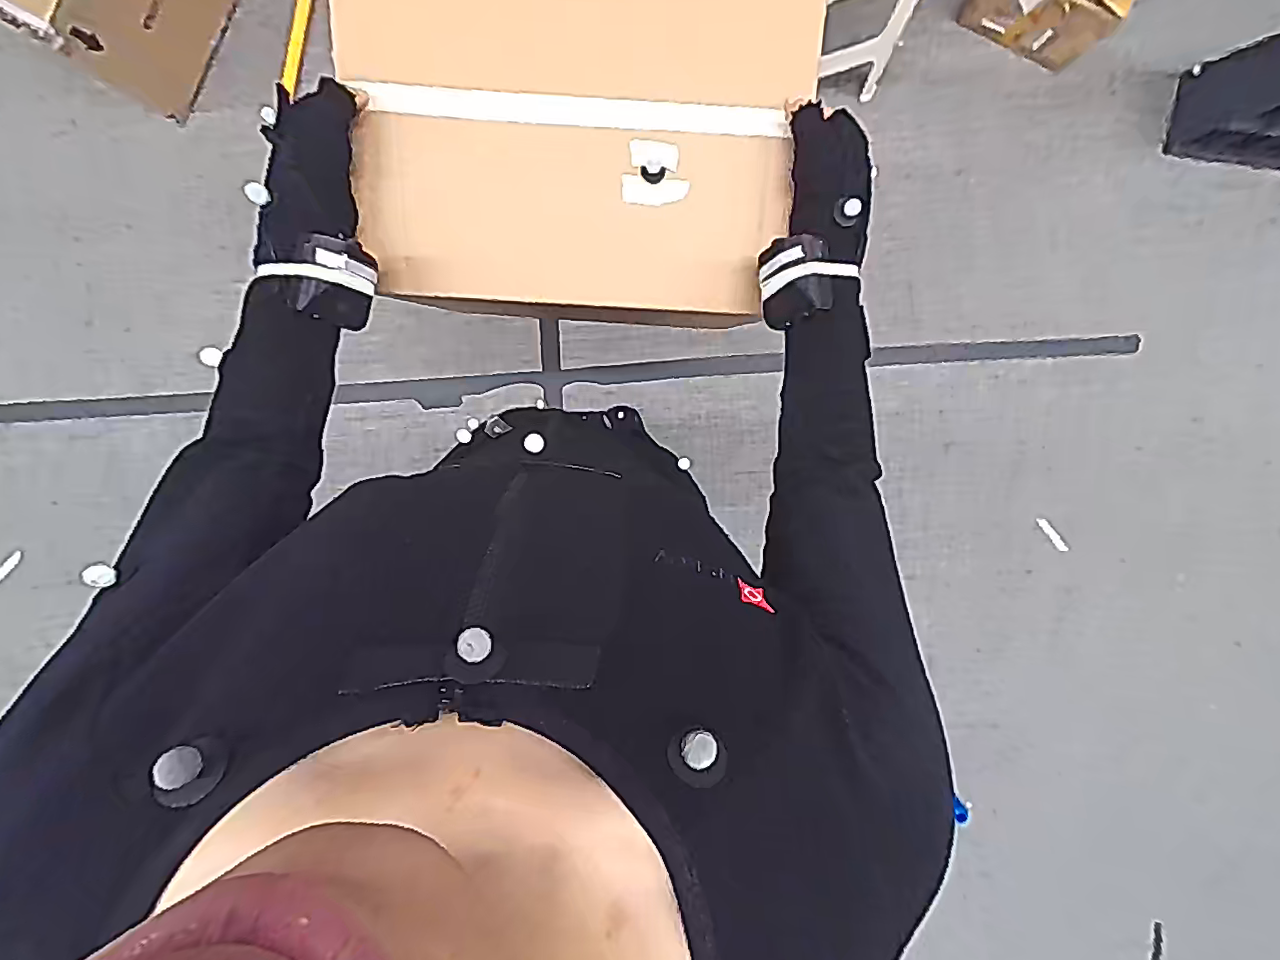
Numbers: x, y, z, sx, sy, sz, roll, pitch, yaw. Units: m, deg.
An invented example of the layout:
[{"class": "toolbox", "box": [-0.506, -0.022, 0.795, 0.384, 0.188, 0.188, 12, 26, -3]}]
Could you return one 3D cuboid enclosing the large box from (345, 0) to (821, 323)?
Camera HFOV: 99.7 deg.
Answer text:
[{"class": "large box", "box": [-0.056, -0.354, 0.613, 0.408, 0.320, 0.320, 3, 104, -3]}]
